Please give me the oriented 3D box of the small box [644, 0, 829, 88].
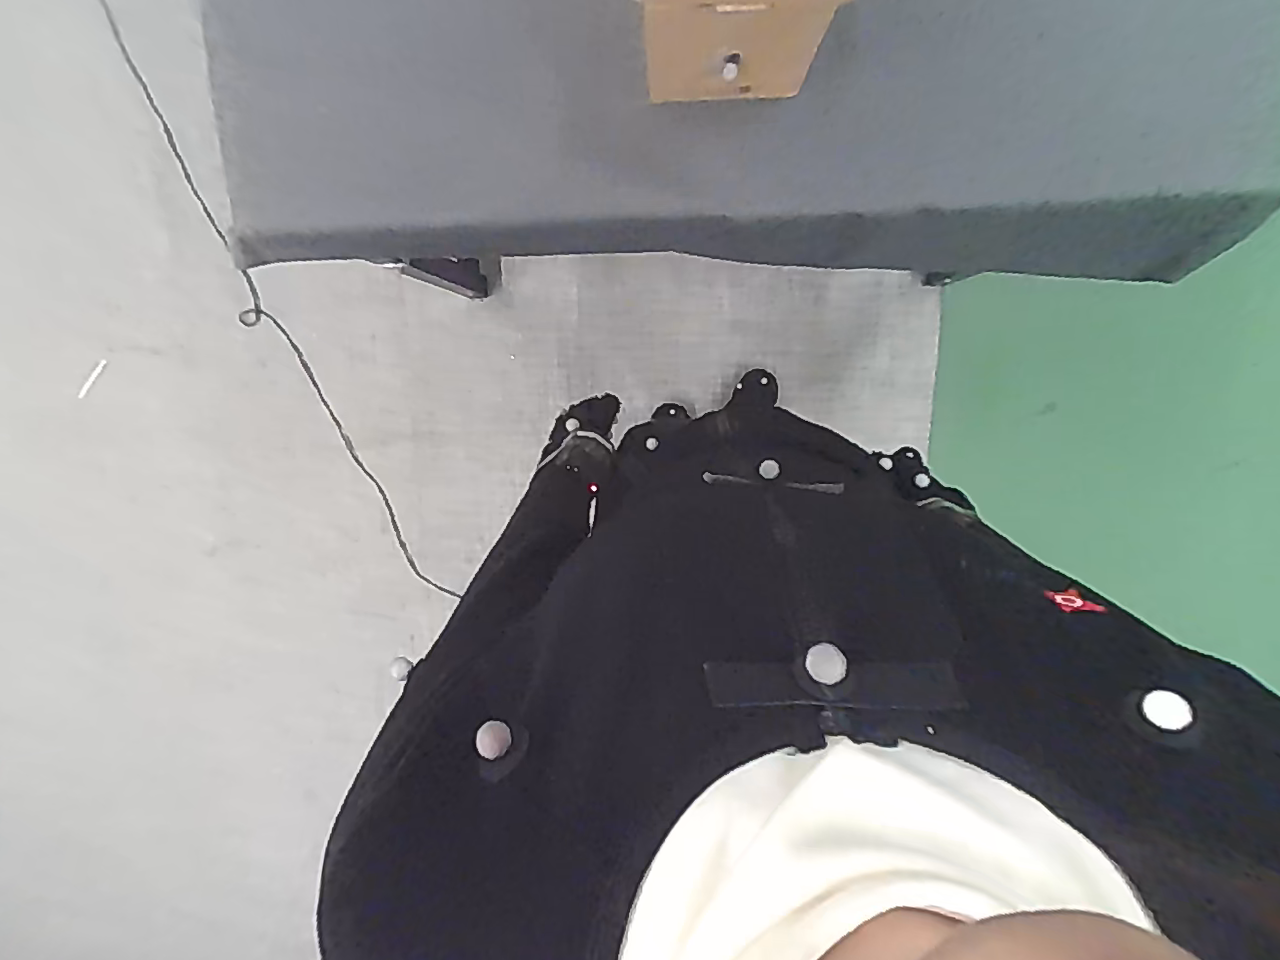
[{"bbox_3d":[0.090,-0.502,0.510,0.168,0.176,0.179,-1,102,4],"label":"small box"}]
